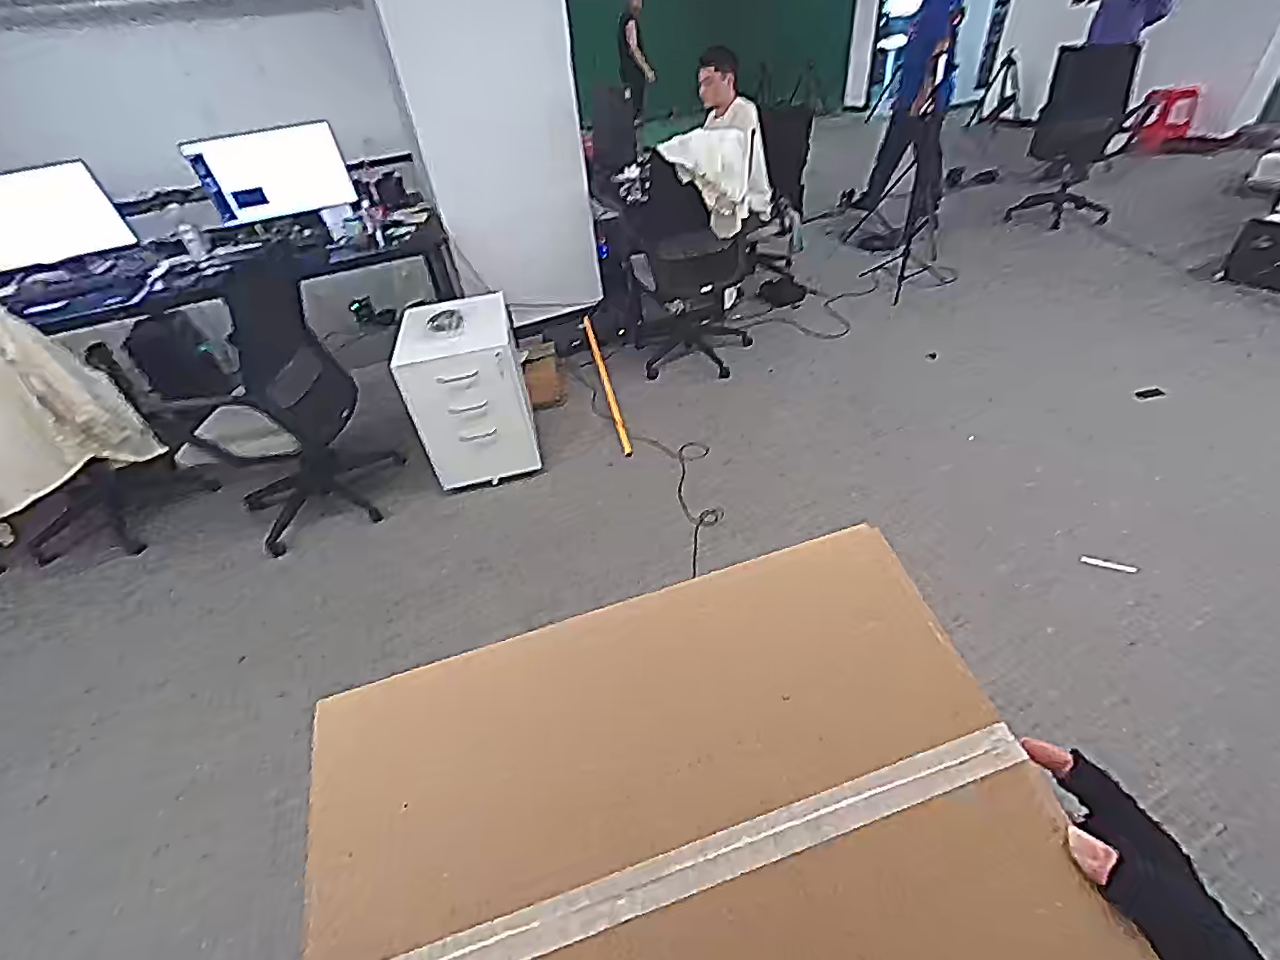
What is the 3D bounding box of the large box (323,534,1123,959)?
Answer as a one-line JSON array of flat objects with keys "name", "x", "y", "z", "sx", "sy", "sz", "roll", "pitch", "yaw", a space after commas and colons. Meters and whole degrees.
[{"name": "large box", "x": 0.034, "y": 0.297, "z": 0.429, "sx": 0.408, "sy": 0.320, "sz": 0.320, "roll": -17, "pitch": 55, "yaw": -6}]
